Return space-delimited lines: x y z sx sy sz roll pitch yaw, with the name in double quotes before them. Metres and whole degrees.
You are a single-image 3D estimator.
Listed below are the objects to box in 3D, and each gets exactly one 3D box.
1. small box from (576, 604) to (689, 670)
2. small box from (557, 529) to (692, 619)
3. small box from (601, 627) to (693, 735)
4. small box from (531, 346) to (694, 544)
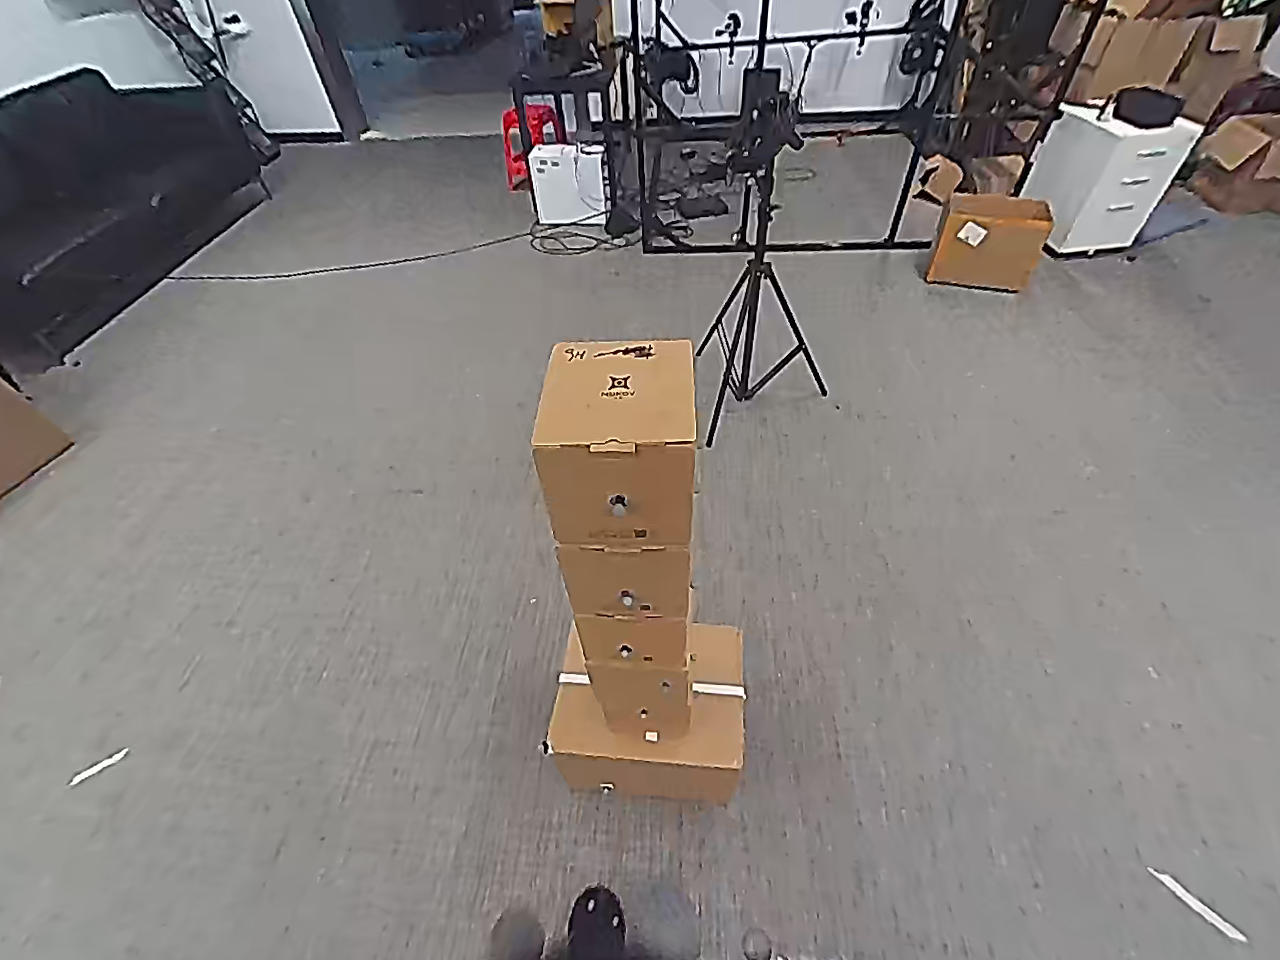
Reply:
"small box" -0.004 0.188 0.882 0.168 0.176 0.179 1 49 4
"small box" -0.012 0.076 0.762 0.168 0.176 0.179 0 49 4
"small box" 0.021 0.414 1.116 0.179 0.176 0.168 1 49 4
"small box" -0.020 -0.037 0.643 0.168 0.176 0.179 0 49 3
